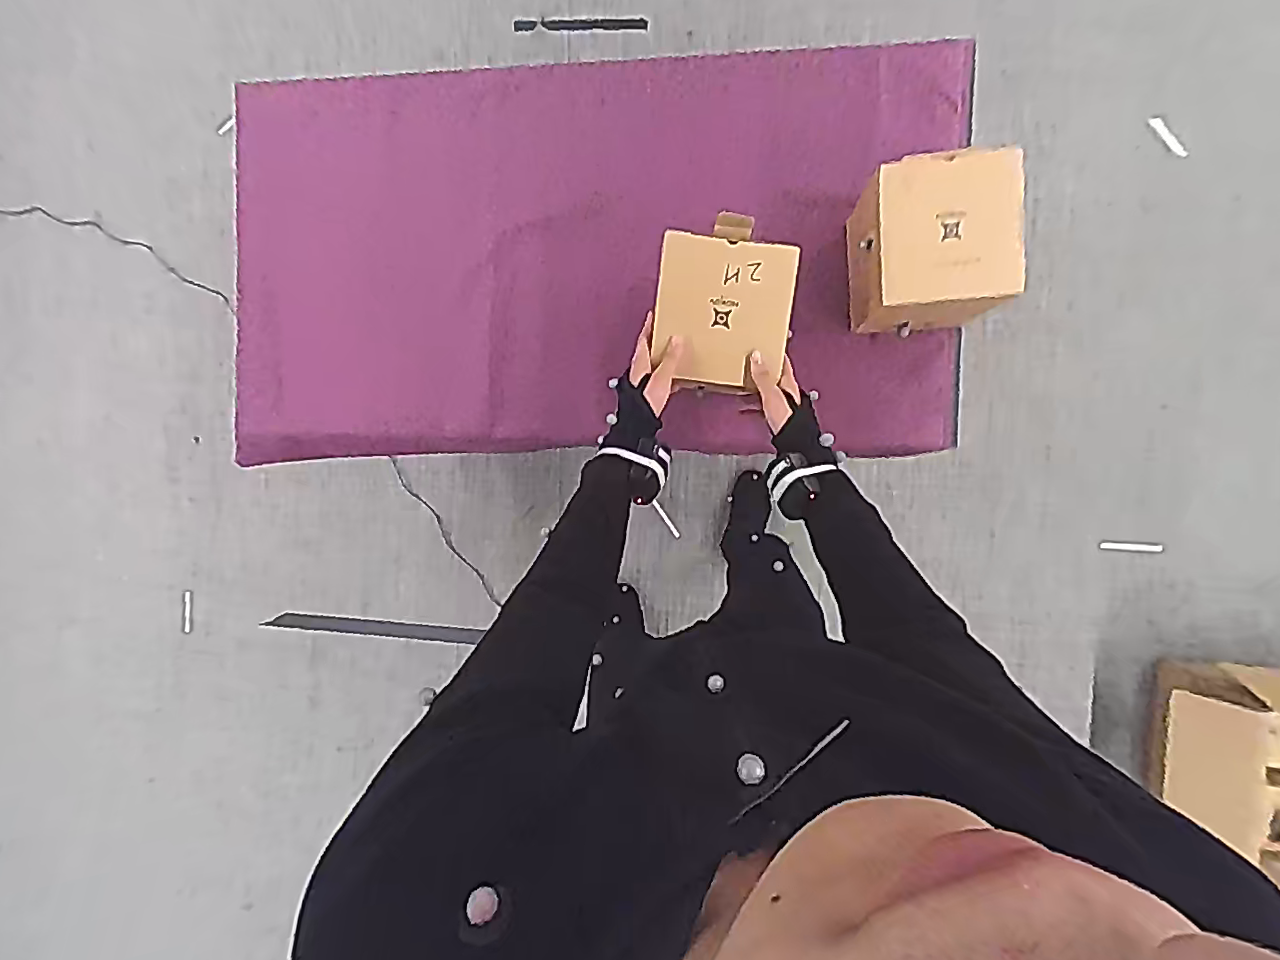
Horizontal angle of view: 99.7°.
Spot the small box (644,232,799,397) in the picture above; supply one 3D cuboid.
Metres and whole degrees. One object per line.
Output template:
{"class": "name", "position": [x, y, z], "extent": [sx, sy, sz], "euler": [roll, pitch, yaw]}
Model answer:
{"class": "small box", "position": [0.098, -0.210, 0.734], "extent": [0.168, 0.176, 0.179], "euler": [8, 97, -2]}

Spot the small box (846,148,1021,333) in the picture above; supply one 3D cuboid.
{"class": "small box", "position": [0.388, -0.314, 0.743], "extent": [0.168, 0.176, 0.179], "euler": [-2, 91, 8]}
